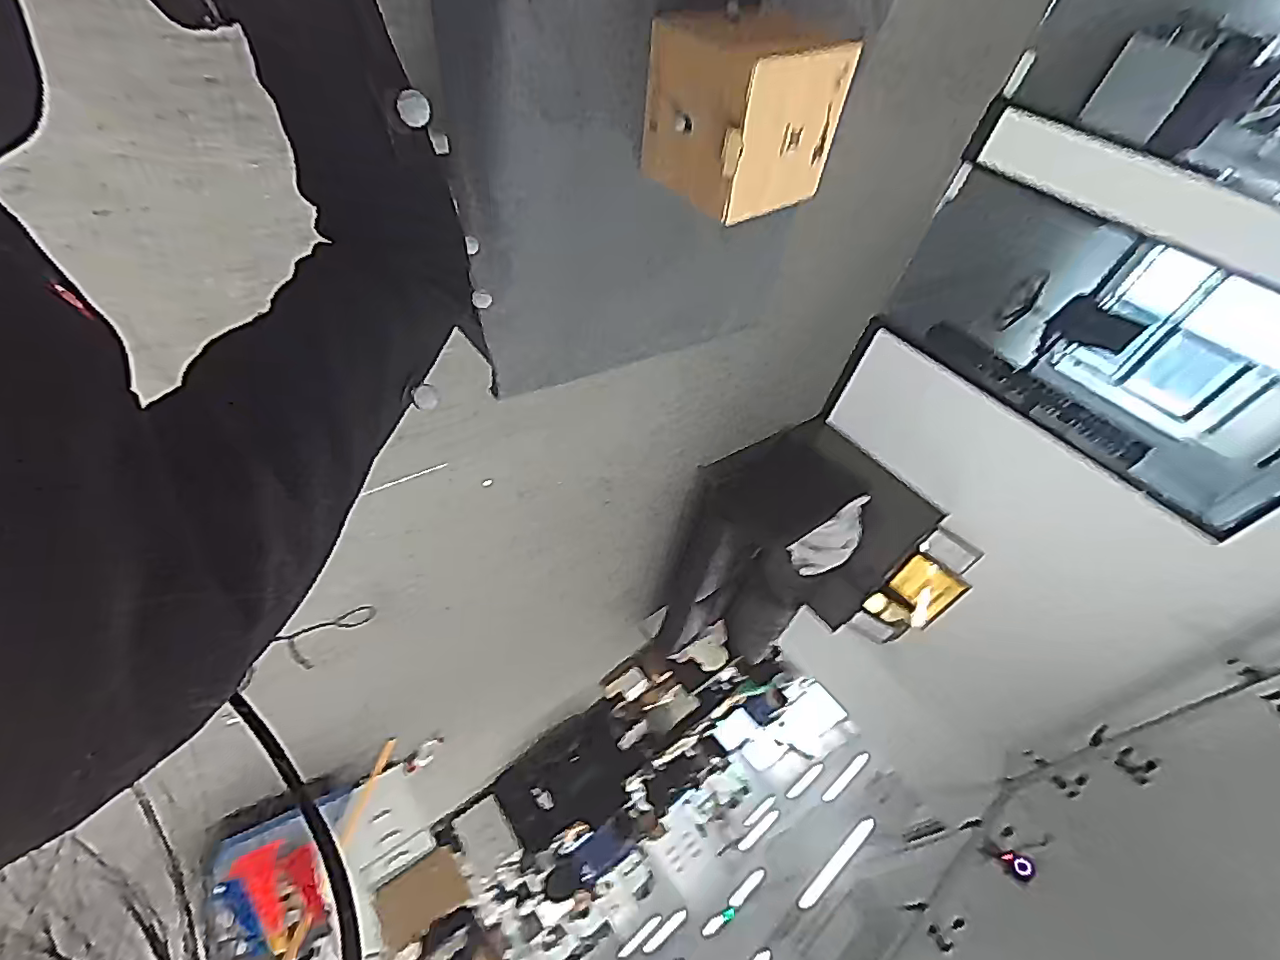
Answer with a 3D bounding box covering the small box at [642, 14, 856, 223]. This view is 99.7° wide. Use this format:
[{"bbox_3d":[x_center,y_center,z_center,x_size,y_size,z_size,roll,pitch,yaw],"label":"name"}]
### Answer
[{"bbox_3d":[0.120,-0.450,0.670,0.179,0.176,0.168,-29,149,-26],"label":"small box"}]
